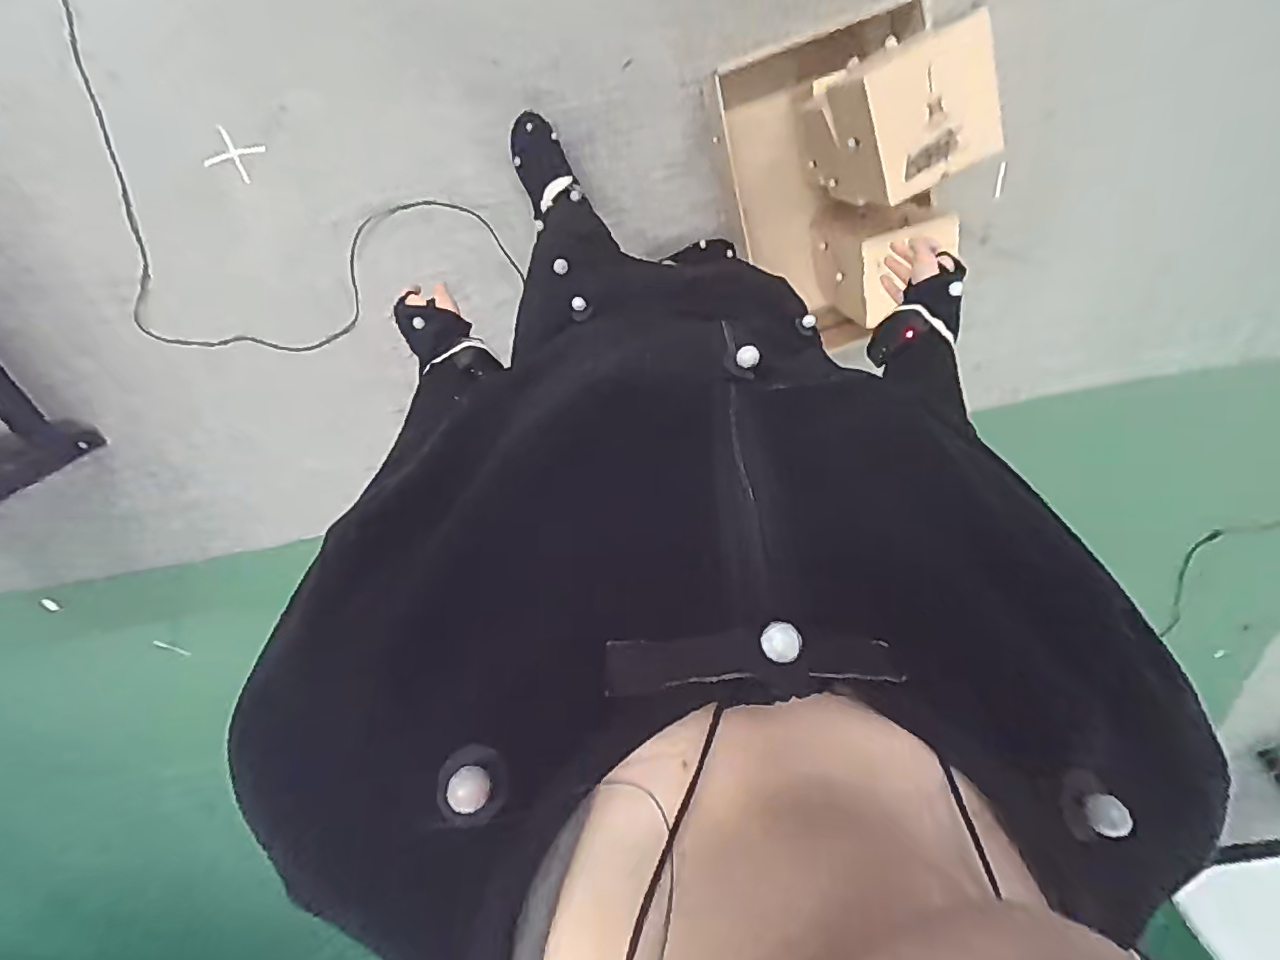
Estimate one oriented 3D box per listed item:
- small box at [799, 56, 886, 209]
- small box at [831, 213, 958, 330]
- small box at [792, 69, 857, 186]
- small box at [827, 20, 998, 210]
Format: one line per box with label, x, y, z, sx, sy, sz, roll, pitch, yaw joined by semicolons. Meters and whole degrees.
small box;0.408;-0.621;0.964;0.168;0.176;0.179;-29;118;16
small box;0.502;-0.422;1.083;0.179;0.176;0.168;-13;120;7
small box;0.417;-0.719;1.095;0.168;0.176;0.179;-14;122;8
small box;0.404;-0.543;0.820;0.168;0.176;0.179;-23;120;13
